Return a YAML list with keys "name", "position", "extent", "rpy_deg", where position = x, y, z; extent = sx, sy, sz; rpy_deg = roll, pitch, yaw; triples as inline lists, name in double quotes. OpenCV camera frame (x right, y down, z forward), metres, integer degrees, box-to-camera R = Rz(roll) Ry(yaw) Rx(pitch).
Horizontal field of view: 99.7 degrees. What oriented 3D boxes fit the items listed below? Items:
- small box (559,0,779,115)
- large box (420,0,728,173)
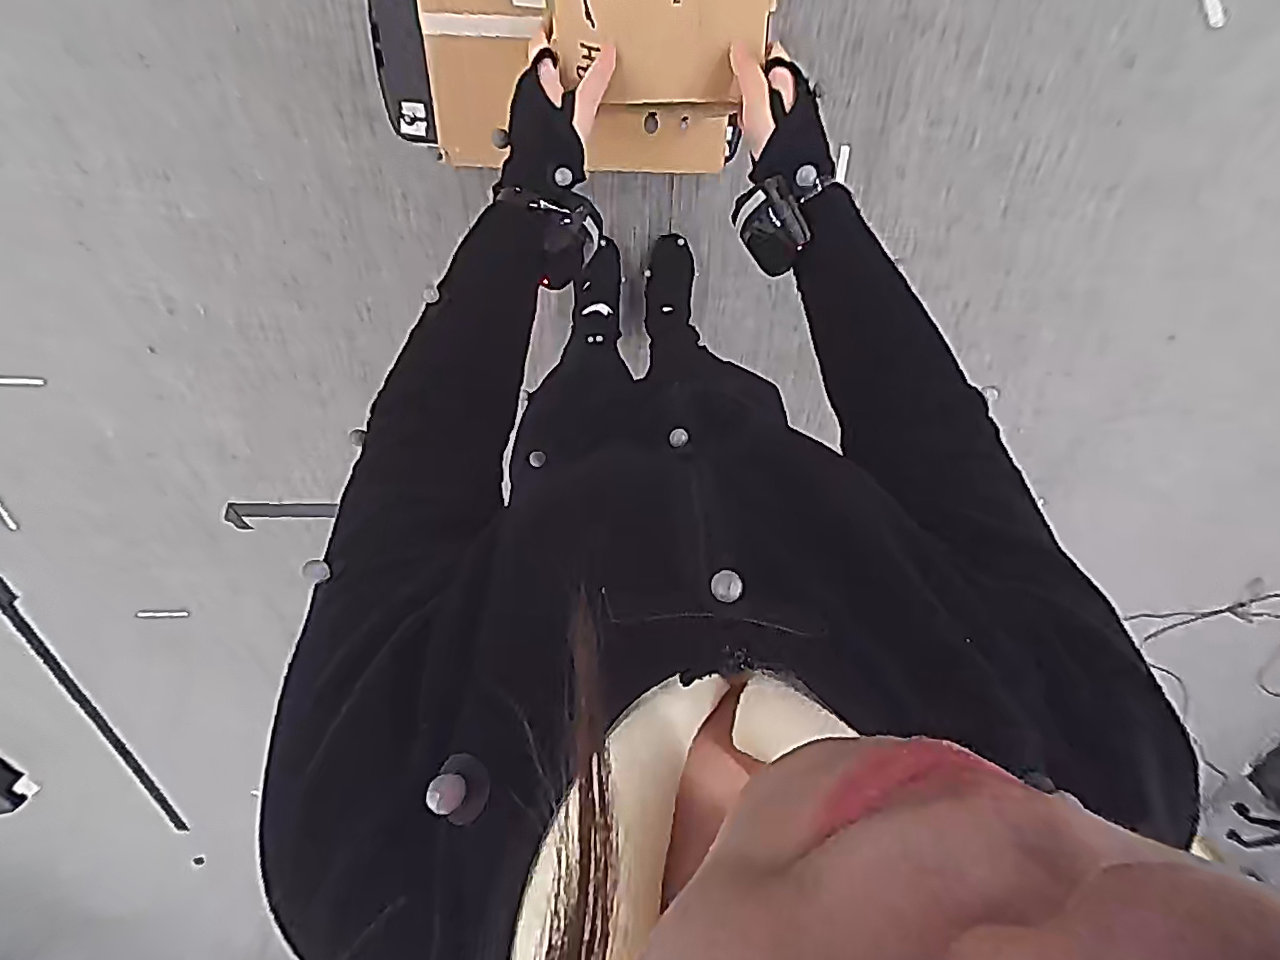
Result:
- name: "small box"
  position: [0.016, -0.431, 0.479]
  extent: [0.179, 0.176, 0.168]
  rpy_deg: [-3, 120, -4]
- name: "large box"
  position: [-0.081, -0.653, 0.816]
  extent: [0.408, 0.320, 0.320]
  rpy_deg: [0, 121, -3]
